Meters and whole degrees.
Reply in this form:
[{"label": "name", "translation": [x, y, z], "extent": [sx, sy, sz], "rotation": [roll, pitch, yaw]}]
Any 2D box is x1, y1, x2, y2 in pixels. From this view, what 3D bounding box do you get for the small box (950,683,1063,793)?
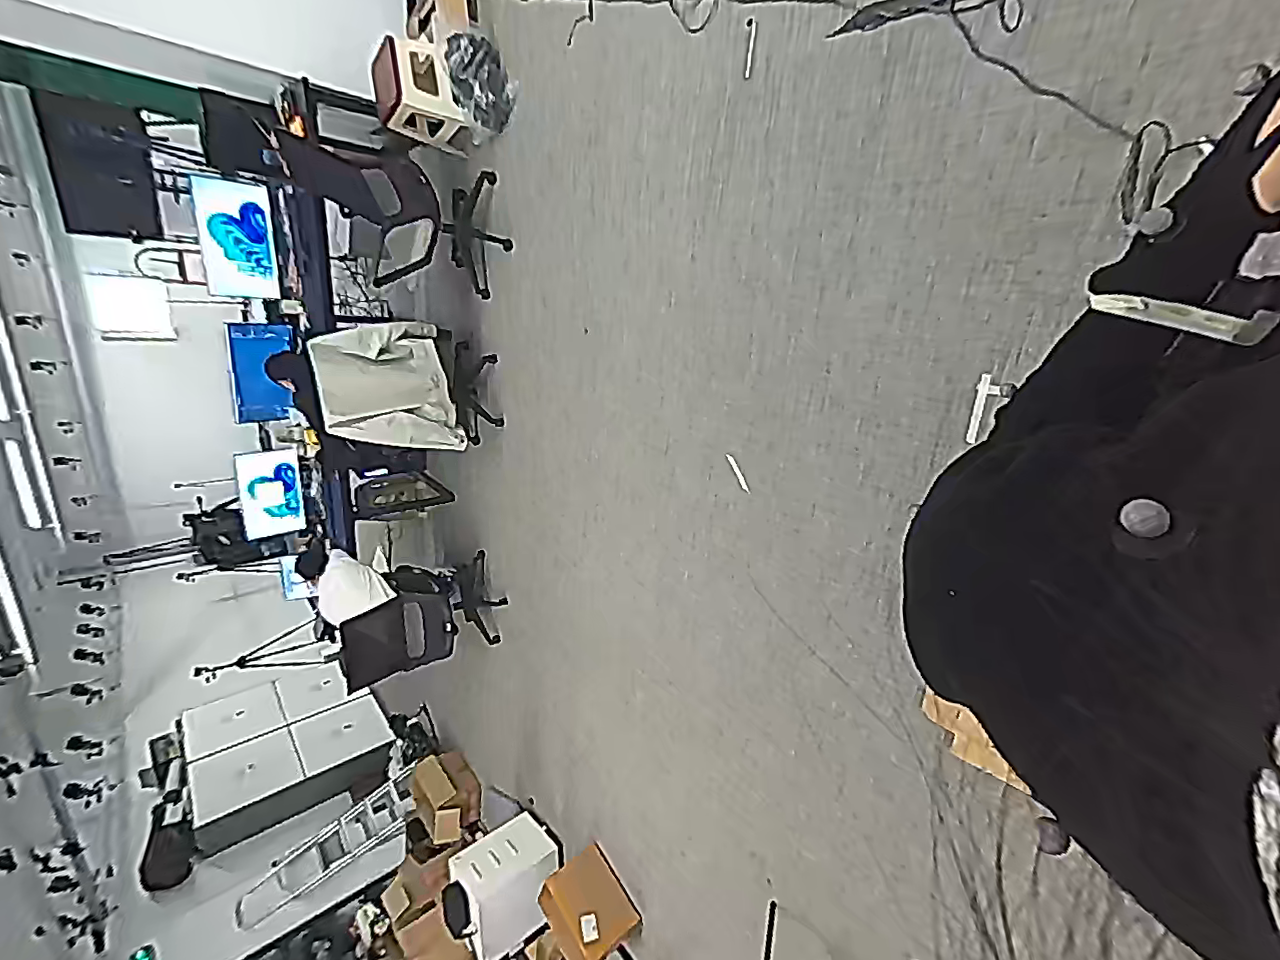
[{"label": "small box", "translation": [0.901, 0.612, 1.330], "extent": [0.179, 0.176, 0.168], "rotation": [17, 113, 46]}]
